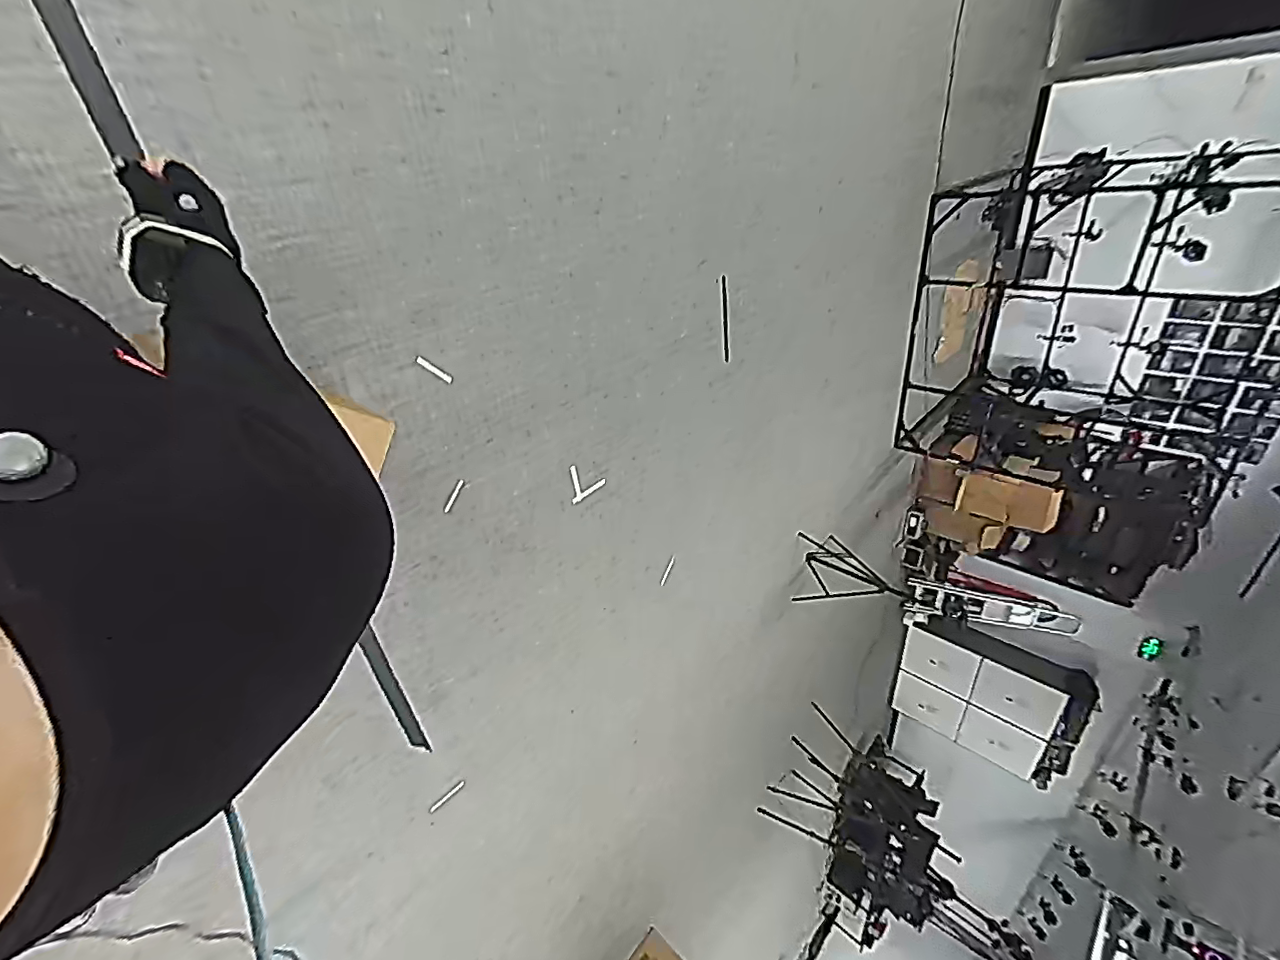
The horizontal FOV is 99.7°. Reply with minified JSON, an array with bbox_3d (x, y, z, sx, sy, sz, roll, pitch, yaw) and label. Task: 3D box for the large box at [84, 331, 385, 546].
[{"bbox_3d":[-0.836,-0.076,1.137,0.408,0.320,0.320,19,92,-51],"label":"large box"}]
